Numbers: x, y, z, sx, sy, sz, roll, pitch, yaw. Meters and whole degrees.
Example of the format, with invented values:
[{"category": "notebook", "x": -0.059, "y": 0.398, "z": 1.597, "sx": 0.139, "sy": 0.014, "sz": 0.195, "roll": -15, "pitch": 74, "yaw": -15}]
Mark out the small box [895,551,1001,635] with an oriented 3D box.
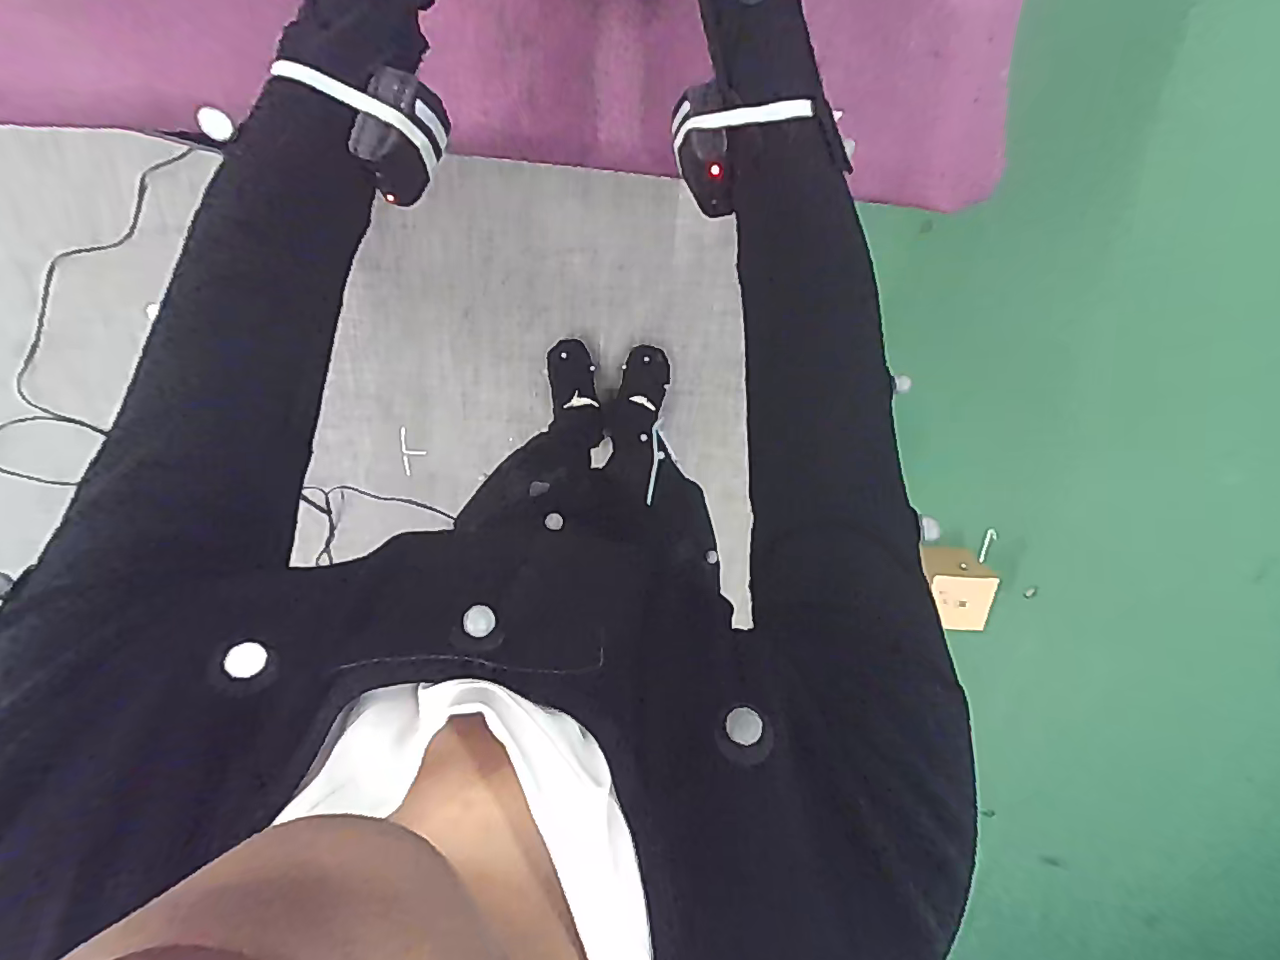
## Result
[{"category": "small box", "x": 0.846, "y": 0.309, "z": 1.503, "sx": 0.179, "sy": 0.176, "sz": 0.168, "roll": 4, "pitch": 111, "yaw": -1}]
